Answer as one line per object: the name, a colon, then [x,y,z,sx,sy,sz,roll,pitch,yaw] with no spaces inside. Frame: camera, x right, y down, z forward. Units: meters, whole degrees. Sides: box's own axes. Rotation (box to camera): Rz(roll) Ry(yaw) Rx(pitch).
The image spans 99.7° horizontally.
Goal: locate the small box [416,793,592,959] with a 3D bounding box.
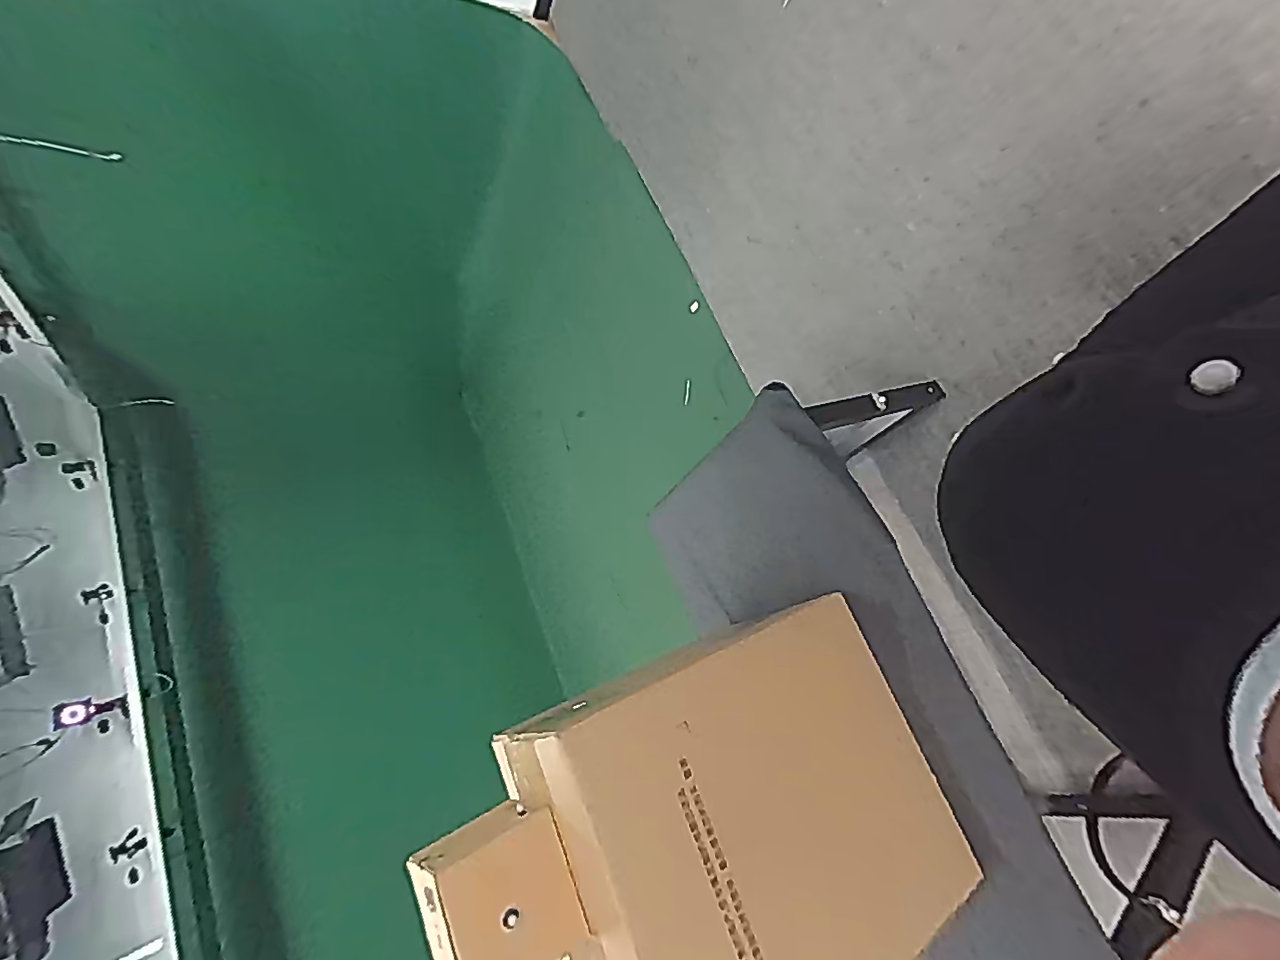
small box: [-0.197,0.579,0.775,0.168,0.176,0.179,-38,71,50]
